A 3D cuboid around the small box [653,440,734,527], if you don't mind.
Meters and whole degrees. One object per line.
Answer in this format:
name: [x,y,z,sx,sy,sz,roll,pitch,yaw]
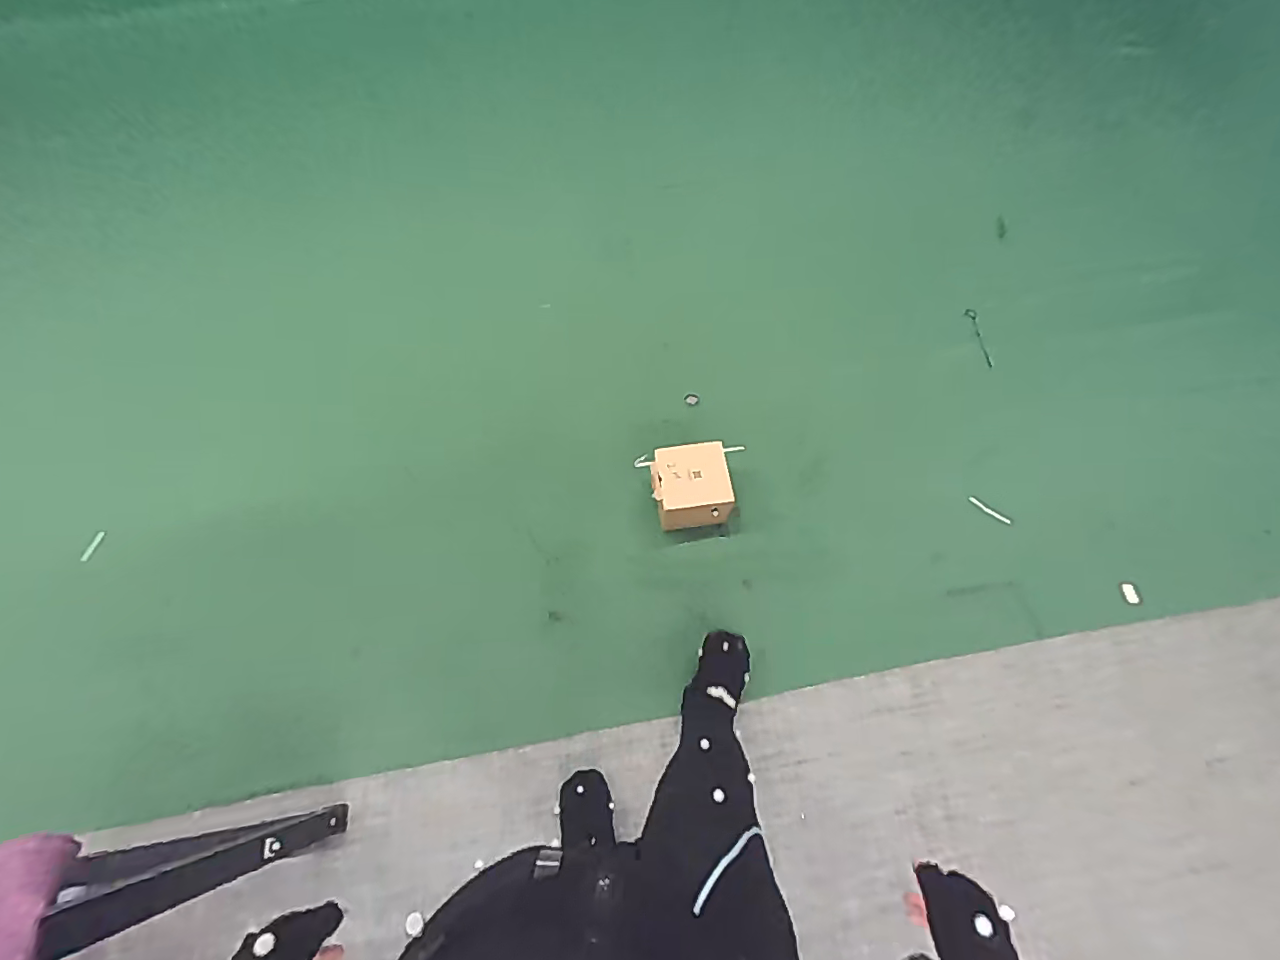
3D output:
small box: [0.131,0.014,1.397,0.179,0.176,0.168,-8,68,-3]
